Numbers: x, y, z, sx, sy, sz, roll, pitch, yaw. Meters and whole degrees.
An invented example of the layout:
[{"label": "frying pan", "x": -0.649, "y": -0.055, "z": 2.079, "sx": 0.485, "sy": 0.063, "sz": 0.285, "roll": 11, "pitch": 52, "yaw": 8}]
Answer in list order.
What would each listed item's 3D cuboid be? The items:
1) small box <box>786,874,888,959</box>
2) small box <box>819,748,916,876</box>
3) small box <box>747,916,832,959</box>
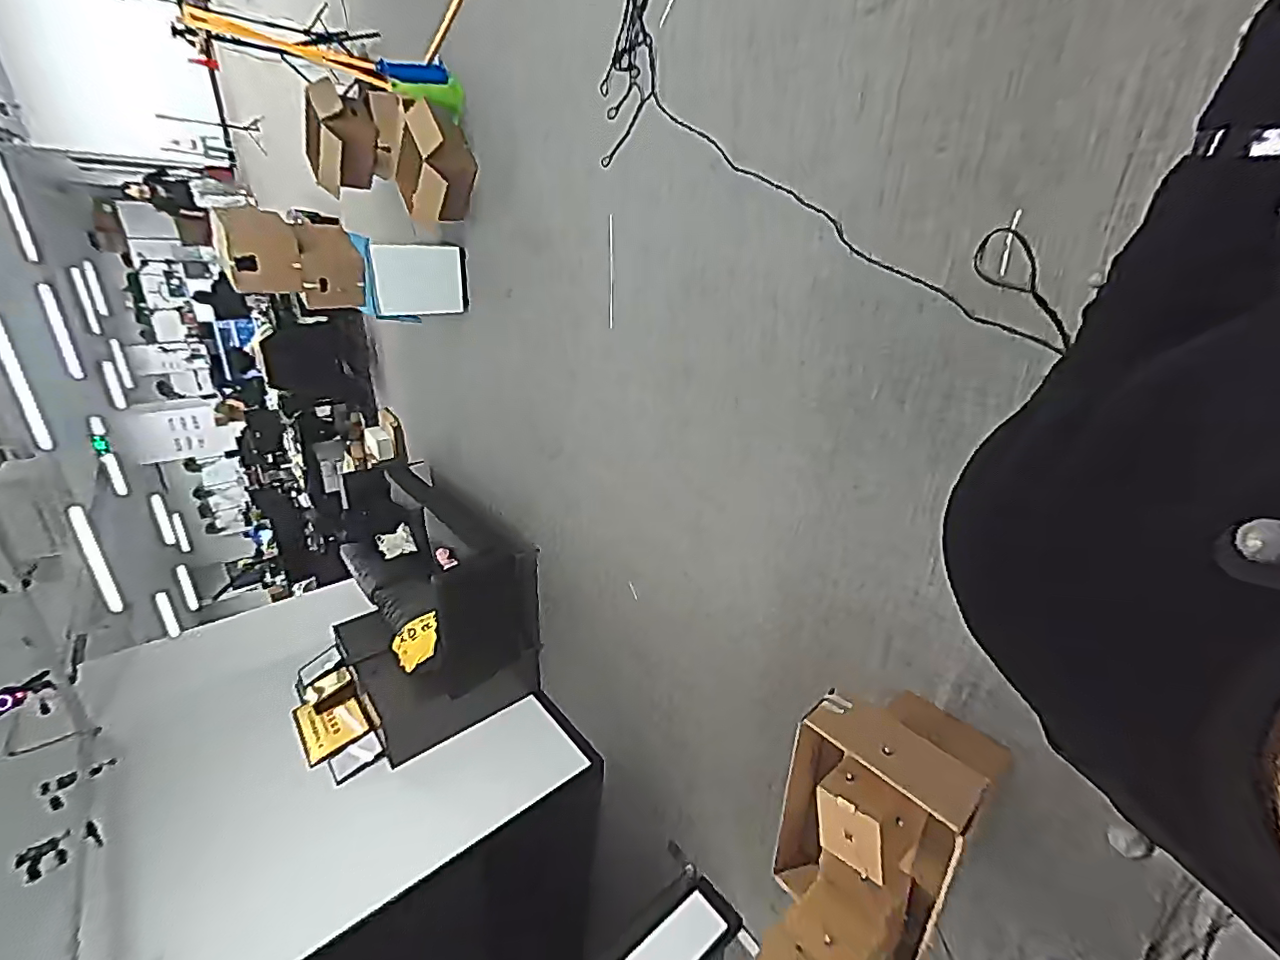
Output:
[{"label": "small box", "x": 0.470, "y": 1.108, "z": 1.308, "sx": 0.179, "sy": 0.176, "sz": 0.168, "roll": 18, "pitch": 117, "yaw": 46}, {"label": "small box", "x": 0.567, "y": 0.810, "z": 1.343, "sx": 0.168, "sy": 0.176, "sz": 0.179, "roll": 8, "pitch": 110, "yaw": 51}, {"label": "small box", "x": 0.340, "y": 1.154, "z": 1.215, "sx": 0.168, "sy": 0.176, "sz": 0.179, "roll": 21, "pitch": 118, "yaw": 44}]
